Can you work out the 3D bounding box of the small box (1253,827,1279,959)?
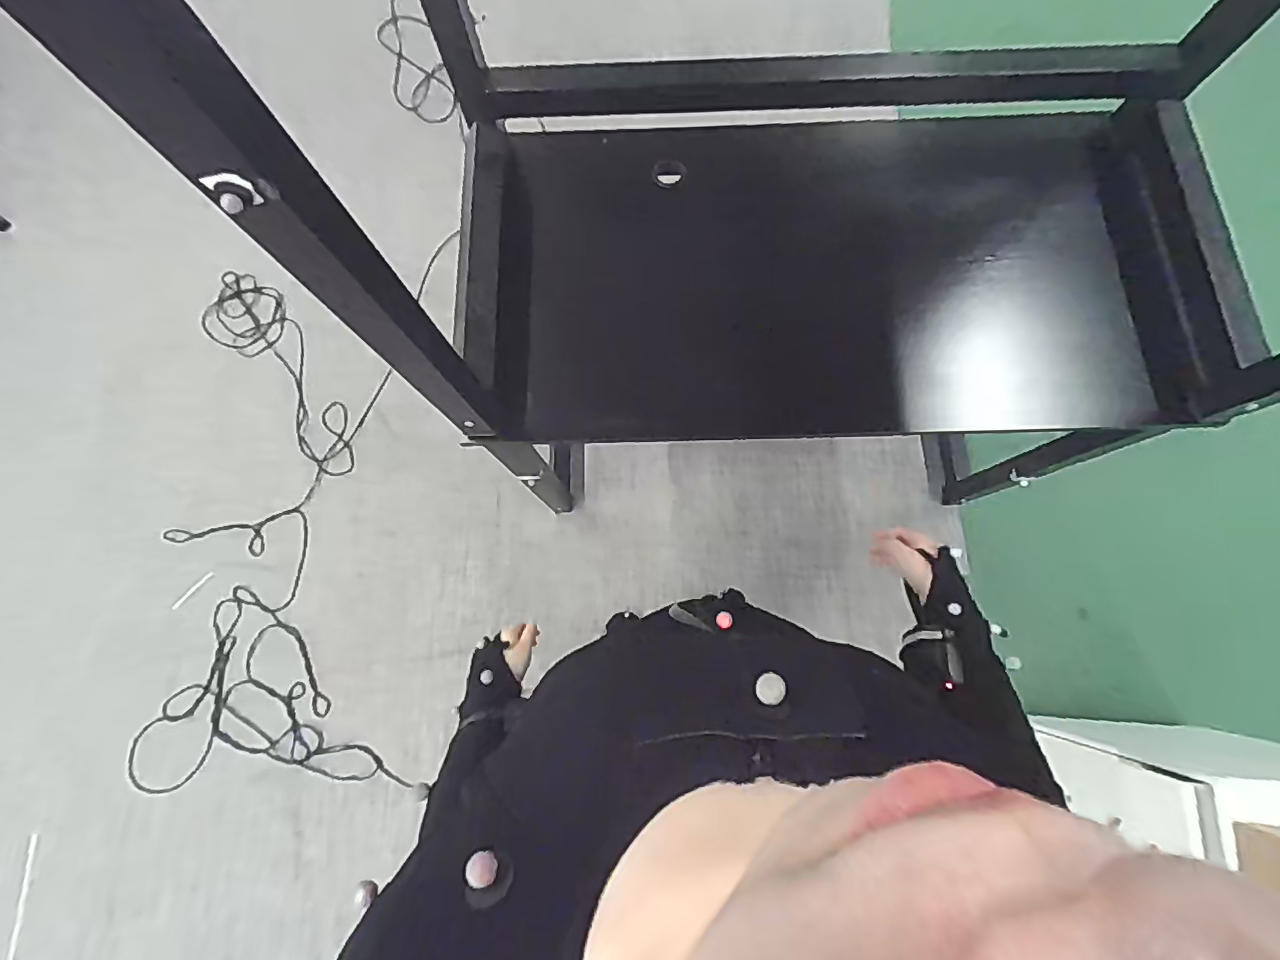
[{"bbox_3d":[0.980,0.589,0.711,0.168,0.176,0.179,6,78,3],"label":"small box"}]
